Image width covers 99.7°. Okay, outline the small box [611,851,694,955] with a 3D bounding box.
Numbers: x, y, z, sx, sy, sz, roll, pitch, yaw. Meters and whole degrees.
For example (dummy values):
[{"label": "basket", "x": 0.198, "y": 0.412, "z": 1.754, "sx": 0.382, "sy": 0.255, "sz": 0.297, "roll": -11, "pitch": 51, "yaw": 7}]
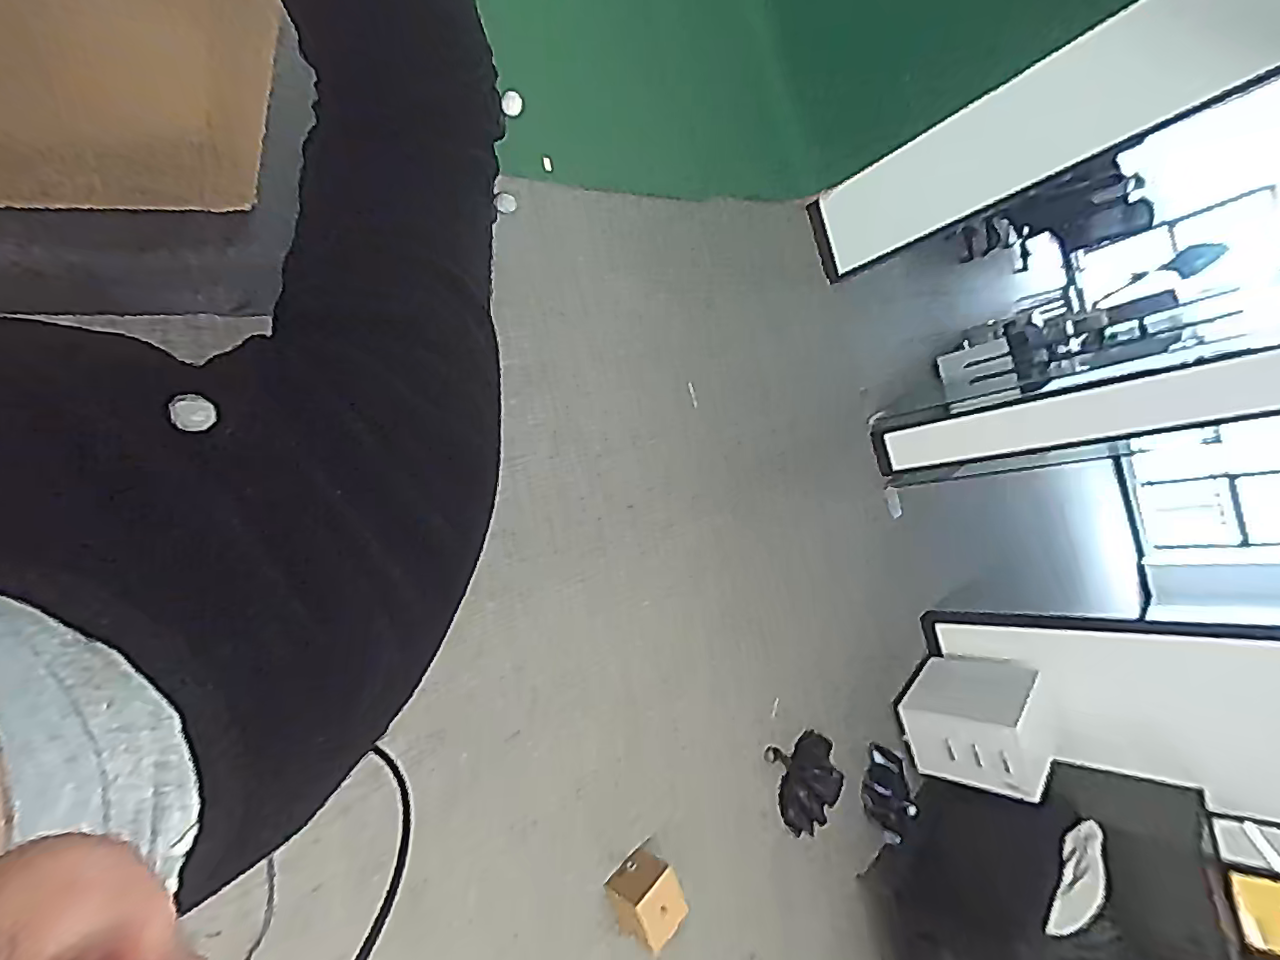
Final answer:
[{"label": "small box", "x": 0.037, "y": 1.338, "z": 1.728, "sx": 0.168, "sy": 0.176, "sz": 0.179, "roll": -27, "pitch": 98, "yaw": -41}]
